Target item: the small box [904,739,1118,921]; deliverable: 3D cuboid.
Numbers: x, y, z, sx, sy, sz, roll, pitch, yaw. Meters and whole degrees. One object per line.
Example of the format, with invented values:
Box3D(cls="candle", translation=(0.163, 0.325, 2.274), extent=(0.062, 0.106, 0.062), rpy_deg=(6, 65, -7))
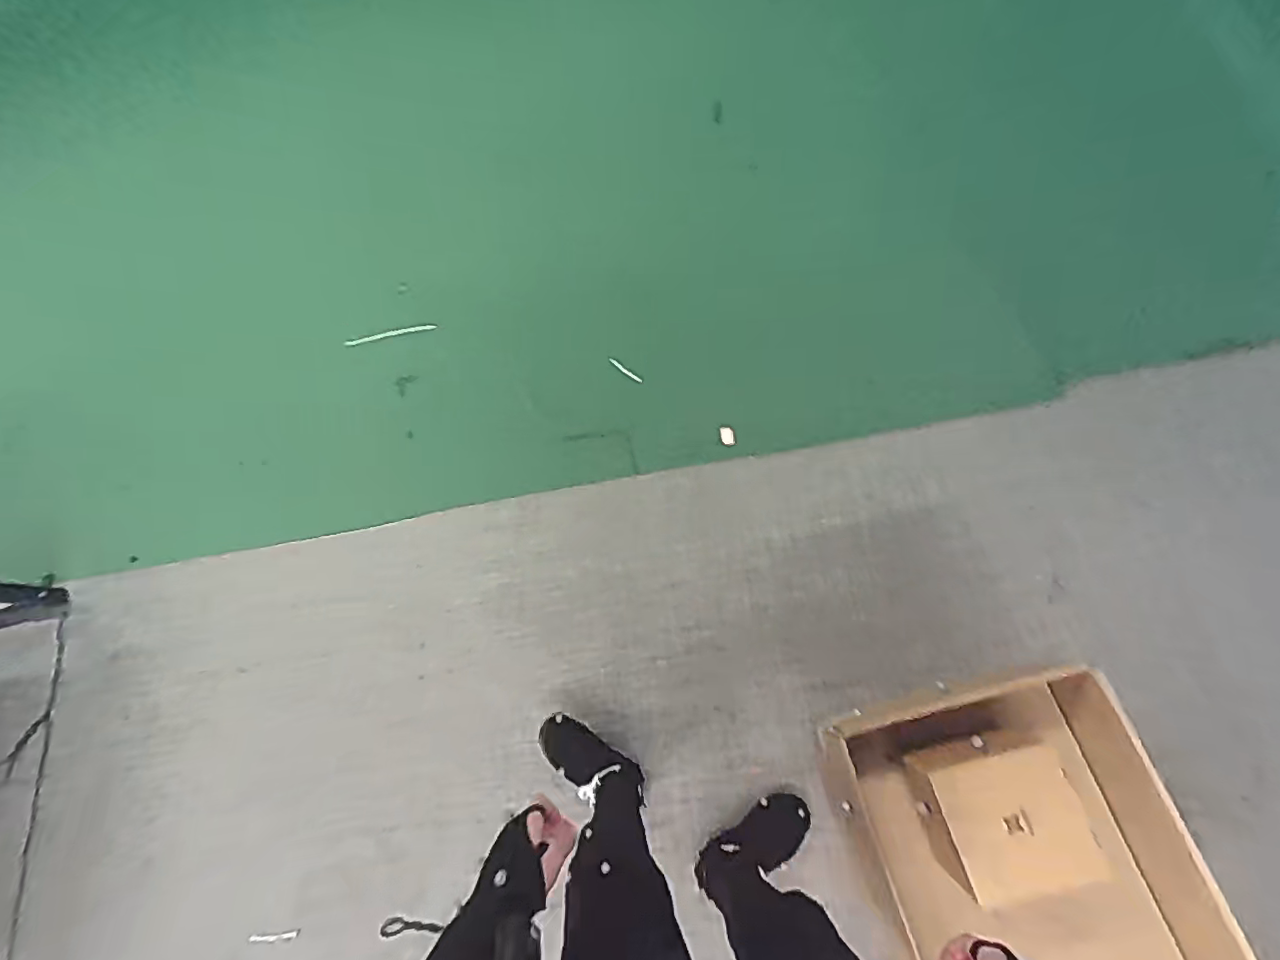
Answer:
Box3D(cls="small box", translation=(0.509, 0.490, 0.783), extent=(0.179, 0.176, 0.168), rpy_deg=(-16, 70, 2))
